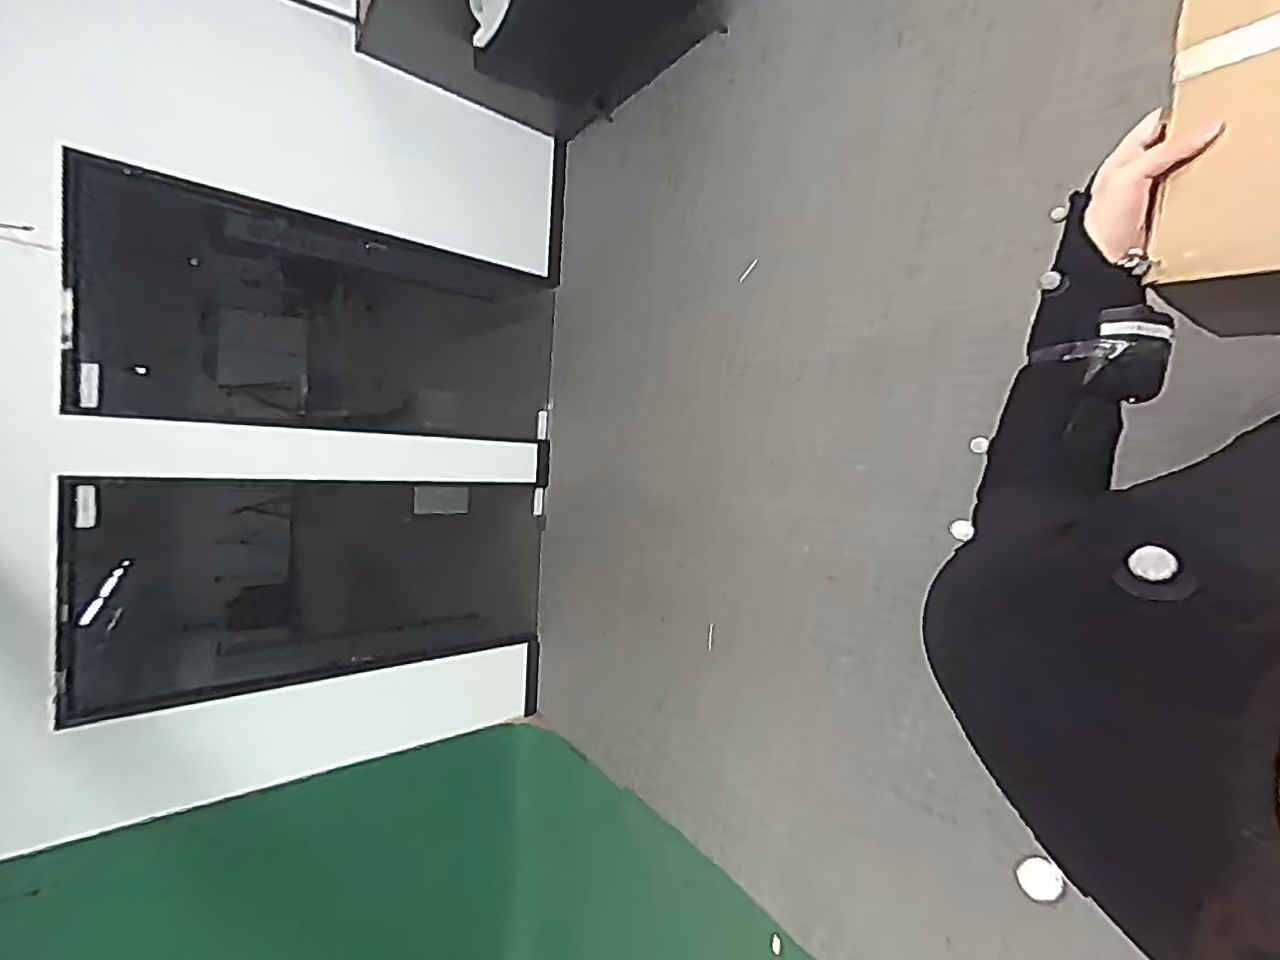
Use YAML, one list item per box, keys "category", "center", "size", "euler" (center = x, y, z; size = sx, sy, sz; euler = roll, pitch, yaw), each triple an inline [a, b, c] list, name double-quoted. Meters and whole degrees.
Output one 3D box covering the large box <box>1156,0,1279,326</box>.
- category: "large box"
  center: [0.656, -0.292, 0.339]
  size: [0.408, 0.320, 0.320]
  euler: [13, 101, 55]
